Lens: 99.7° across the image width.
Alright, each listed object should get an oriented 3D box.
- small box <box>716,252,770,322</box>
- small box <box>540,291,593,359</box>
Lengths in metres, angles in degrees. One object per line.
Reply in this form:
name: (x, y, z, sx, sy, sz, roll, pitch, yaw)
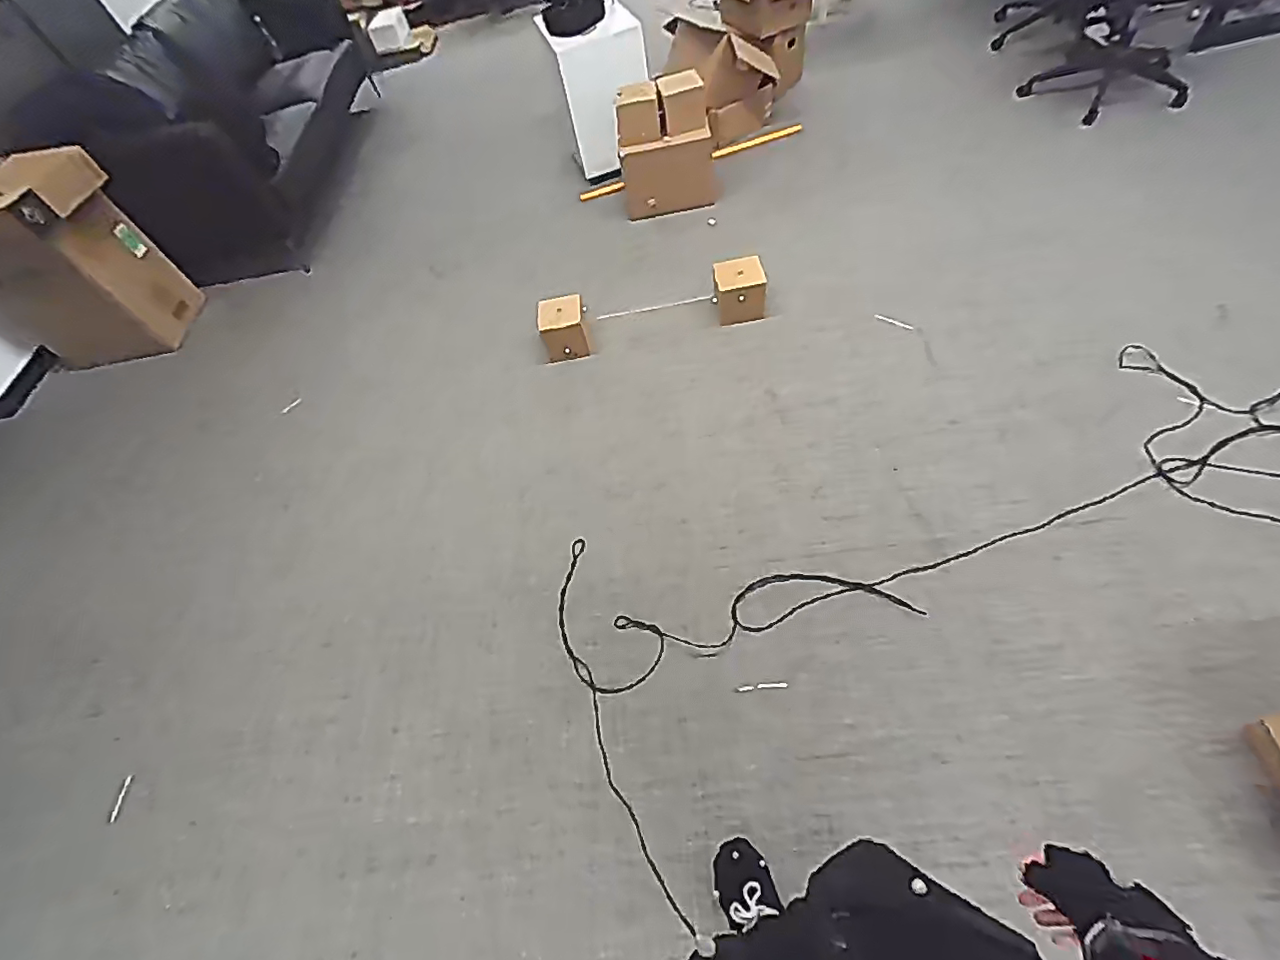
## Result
small box: (0.387, -0.729, 2.052, 0.179, 0.176, 0.168, -10, 57, 6)
small box: (-0.284, -0.602, 2.105, 0.168, 0.176, 0.179, -10, 56, 5)
